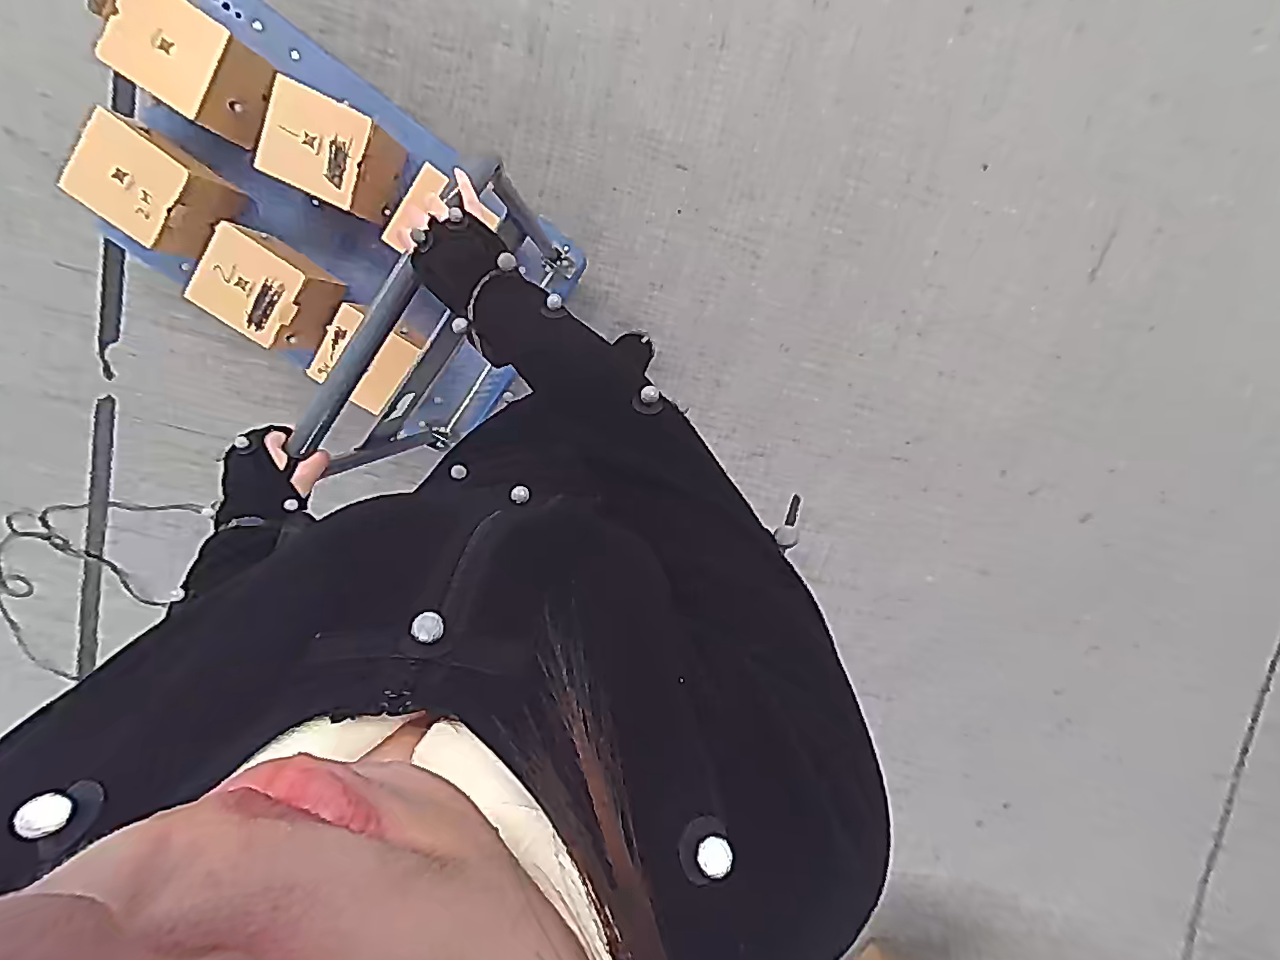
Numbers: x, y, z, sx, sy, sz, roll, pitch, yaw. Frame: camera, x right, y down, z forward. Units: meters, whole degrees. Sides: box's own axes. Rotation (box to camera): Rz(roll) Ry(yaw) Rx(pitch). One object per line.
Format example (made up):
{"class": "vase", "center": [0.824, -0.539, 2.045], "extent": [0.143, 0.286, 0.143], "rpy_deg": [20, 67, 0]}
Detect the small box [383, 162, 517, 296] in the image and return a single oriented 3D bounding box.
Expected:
{"class": "small box", "center": [-0.370, -0.491, 1.093], "extent": [0.179, 0.176, 0.168], "rpy_deg": [35, 99, -11]}

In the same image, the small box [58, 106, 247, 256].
{"class": "small box", "center": [-0.922, -0.557, 1.040], "extent": [0.179, 0.176, 0.168], "rpy_deg": [36, 100, -12]}

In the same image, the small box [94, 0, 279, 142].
{"class": "small box", "center": [-0.816, -0.762, 0.995], "extent": [0.179, 0.176, 0.168], "rpy_deg": [32, 101, -11]}

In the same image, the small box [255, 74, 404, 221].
{"class": "small box", "center": [-0.586, -0.623, 1.044], "extent": [0.179, 0.176, 0.168], "rpy_deg": [23, 102, -7]}

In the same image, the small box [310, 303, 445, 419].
{"class": "small box", "center": [-0.541, -0.252, 1.142], "extent": [0.179, 0.176, 0.168], "rpy_deg": [31, 100, -11]}
